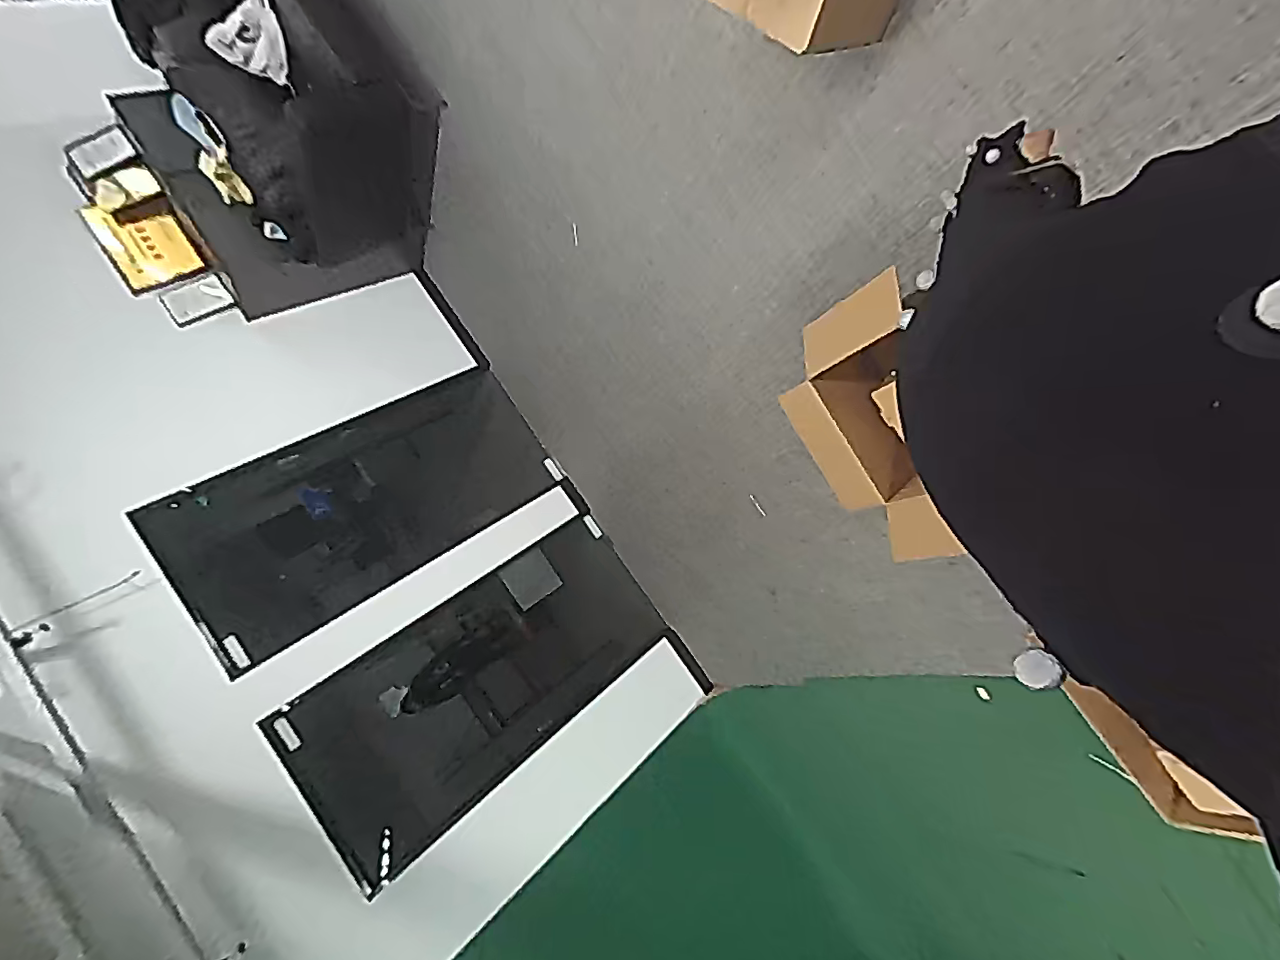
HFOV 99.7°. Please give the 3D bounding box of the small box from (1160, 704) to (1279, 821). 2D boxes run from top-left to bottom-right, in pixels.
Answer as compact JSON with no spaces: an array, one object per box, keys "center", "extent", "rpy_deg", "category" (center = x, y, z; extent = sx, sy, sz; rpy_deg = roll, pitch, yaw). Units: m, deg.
[{"center":[1.413,0.666,1.290],"extent":[0.179,0.176,0.168],"rpy_deg":[55,151,4],"category":"small box"}]
